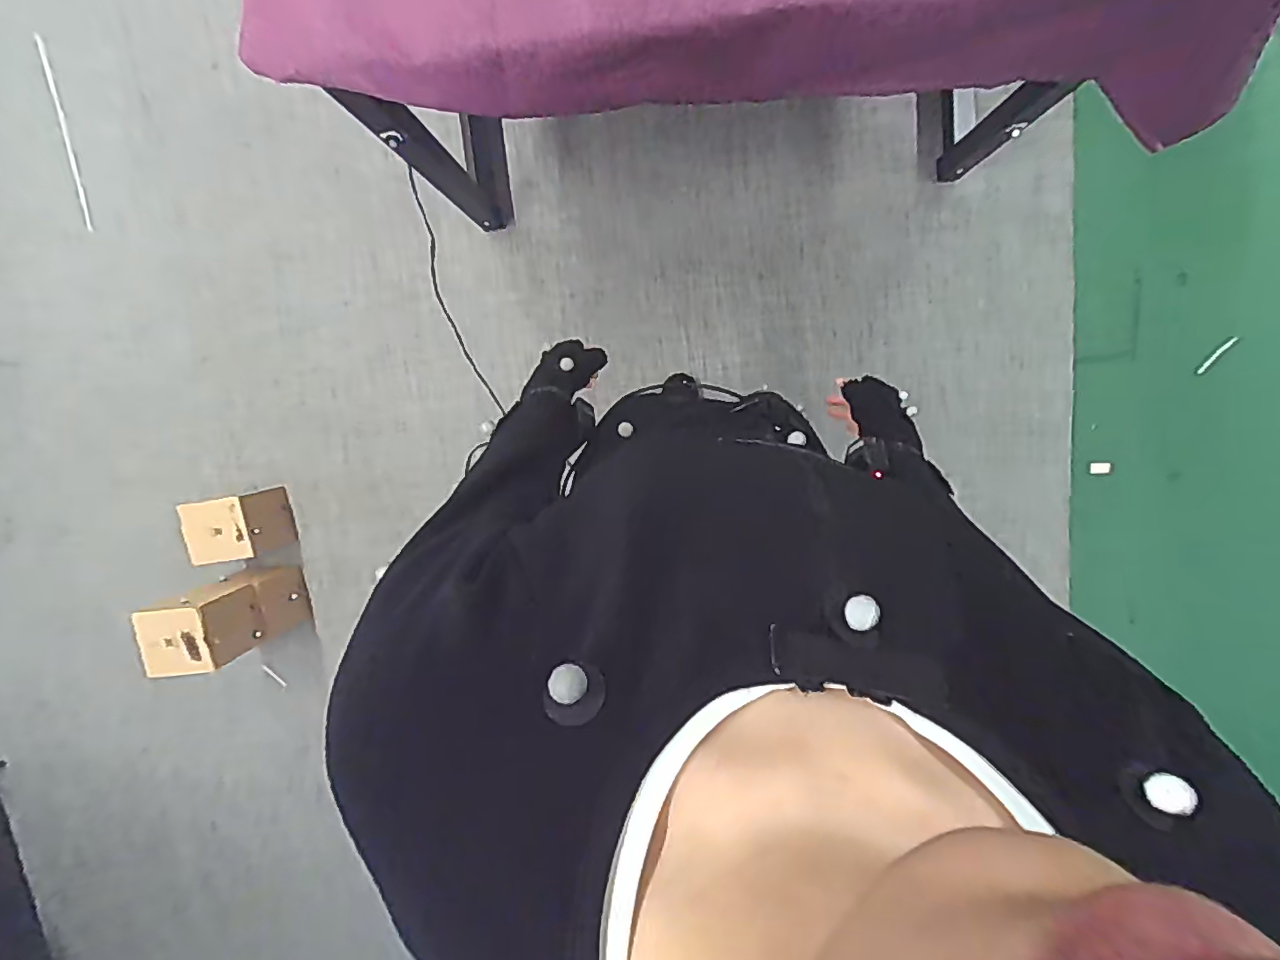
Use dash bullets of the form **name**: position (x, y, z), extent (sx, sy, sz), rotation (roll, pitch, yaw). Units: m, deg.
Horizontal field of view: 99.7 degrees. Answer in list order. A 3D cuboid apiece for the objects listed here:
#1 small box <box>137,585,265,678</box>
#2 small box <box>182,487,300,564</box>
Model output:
- **small box**: position (-1.076, 0.369, 1.346), extent (0.179, 0.176, 0.168), rotation (-6, 99, 5)
- **small box**: position (-1.076, 0.120, 1.472), extent (0.179, 0.176, 0.168), rotation (-8, 99, 5)
